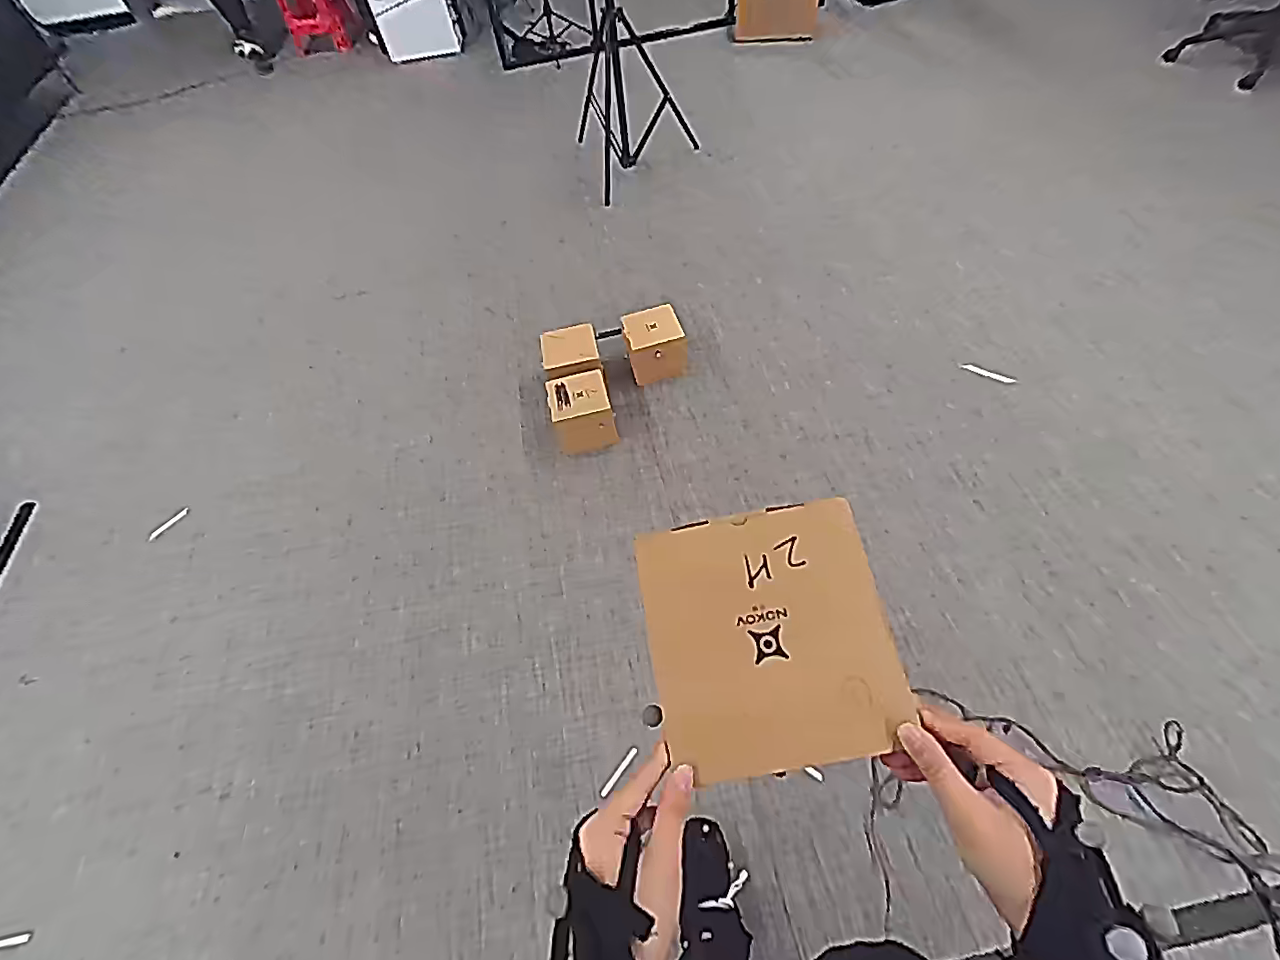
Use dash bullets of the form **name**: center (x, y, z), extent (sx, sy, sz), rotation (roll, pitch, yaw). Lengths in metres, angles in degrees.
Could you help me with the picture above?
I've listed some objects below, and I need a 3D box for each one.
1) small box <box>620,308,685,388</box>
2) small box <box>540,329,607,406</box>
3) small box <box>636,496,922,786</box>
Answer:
- **small box**: center (0.044, -0.436, 1.799), extent (0.179, 0.176, 0.168), rotation (-17, 57, -4)
- **small box**: center (-0.219, -0.375, 1.783), extent (0.179, 0.176, 0.168), rotation (-12, 57, -2)
- **small box**: center (0.099, 0.133, 0.453), extent (0.168, 0.176, 0.179), rotation (-11, 68, 2)
